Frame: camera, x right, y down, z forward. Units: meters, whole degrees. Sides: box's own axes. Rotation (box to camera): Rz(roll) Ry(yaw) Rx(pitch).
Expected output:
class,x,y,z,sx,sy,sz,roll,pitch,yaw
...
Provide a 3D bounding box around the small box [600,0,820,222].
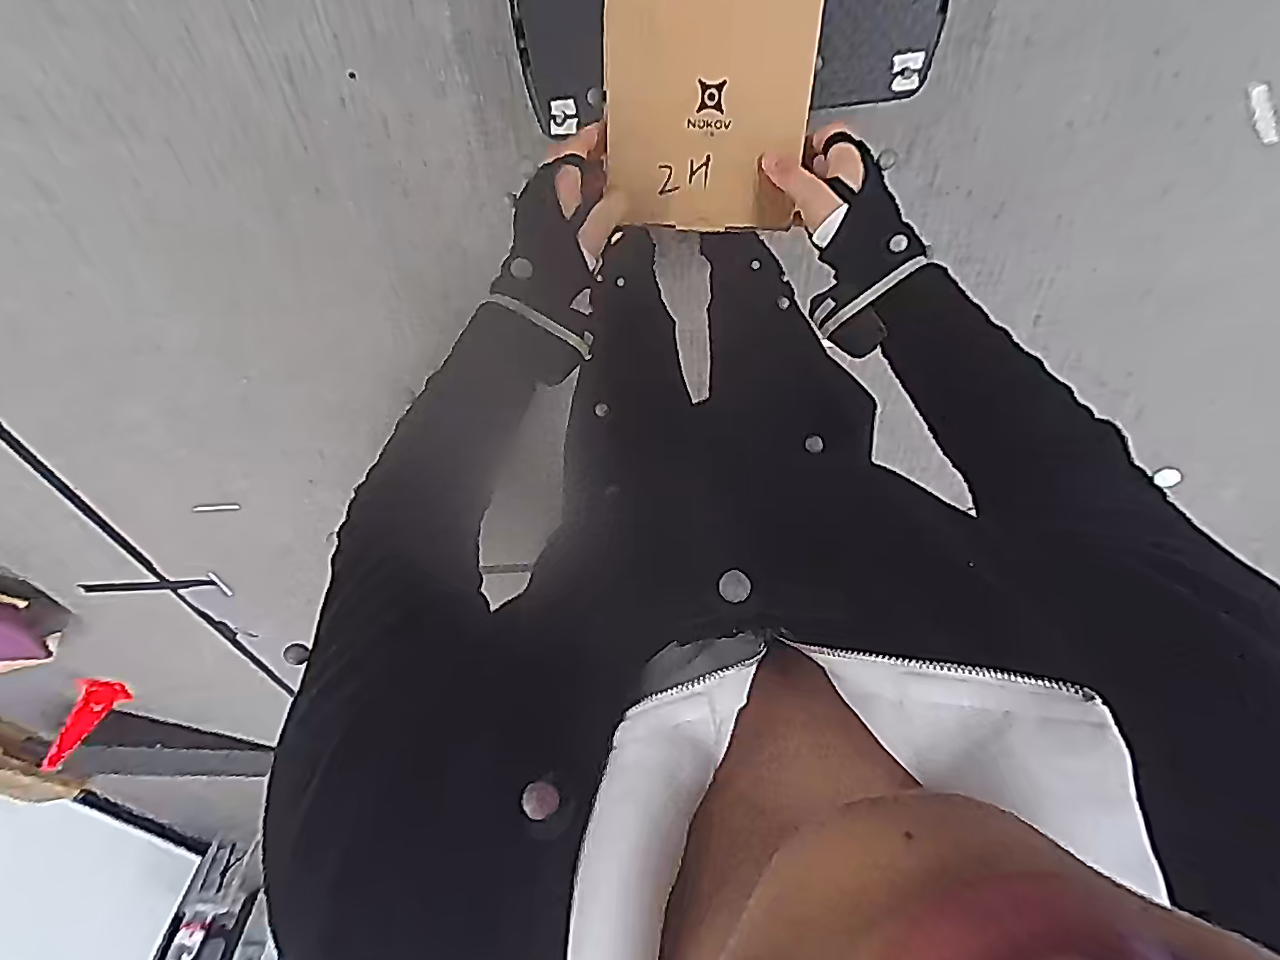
class,x,y,z,sx,sy,sz,roll,pitch,yaw
small box,0.047,-0.343,0.504,0.168,0.176,0.179,0,118,-4
